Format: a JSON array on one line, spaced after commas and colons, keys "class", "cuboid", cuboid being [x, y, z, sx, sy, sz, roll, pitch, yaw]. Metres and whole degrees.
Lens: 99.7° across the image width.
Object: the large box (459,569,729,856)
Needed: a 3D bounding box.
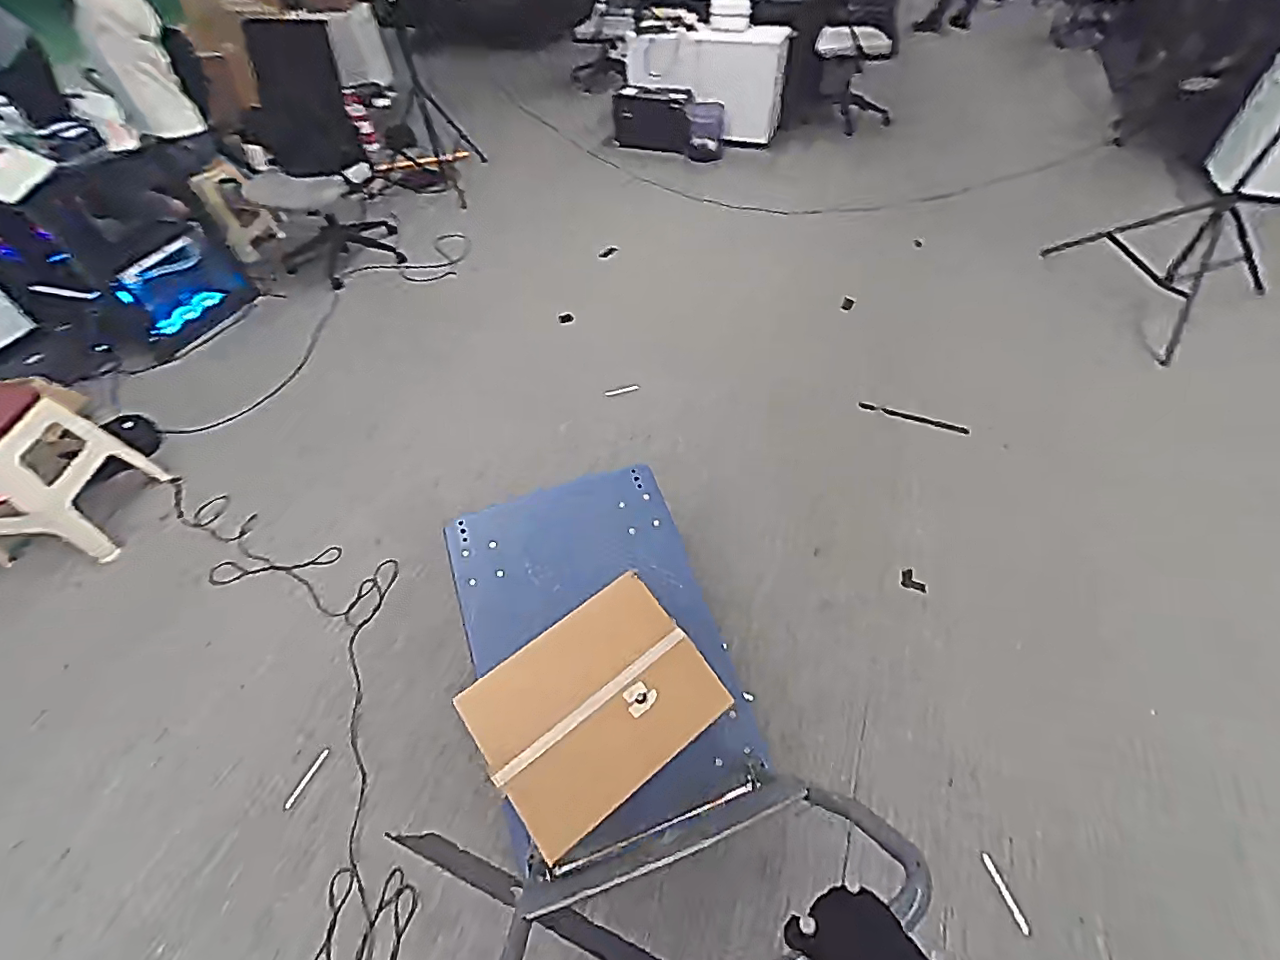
[{"class": "large box", "cuboid": [-0.090, 0.459, 1.108, 0.408, 0.320, 0.320, -34, 71, -19]}]
